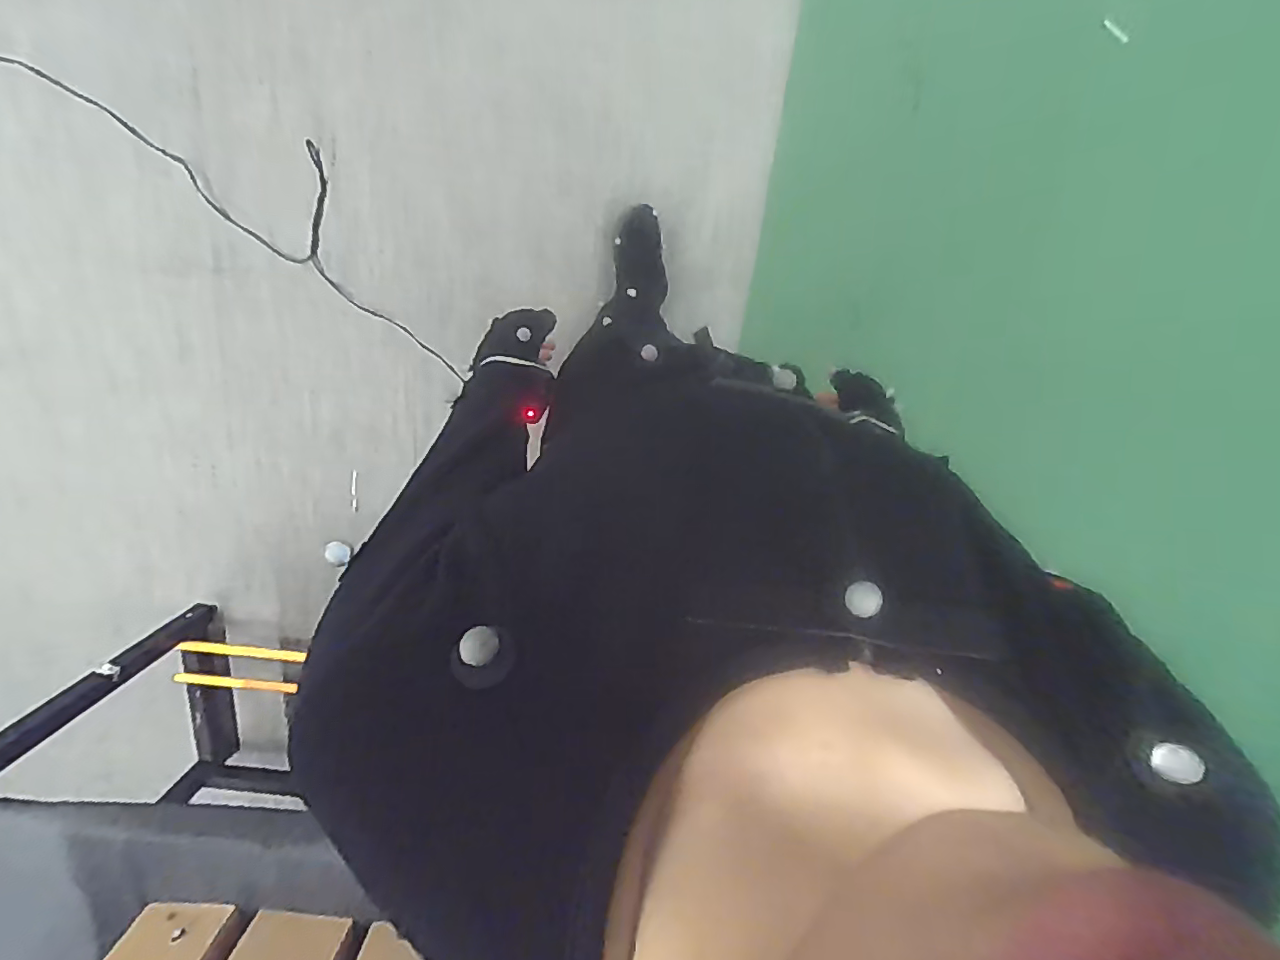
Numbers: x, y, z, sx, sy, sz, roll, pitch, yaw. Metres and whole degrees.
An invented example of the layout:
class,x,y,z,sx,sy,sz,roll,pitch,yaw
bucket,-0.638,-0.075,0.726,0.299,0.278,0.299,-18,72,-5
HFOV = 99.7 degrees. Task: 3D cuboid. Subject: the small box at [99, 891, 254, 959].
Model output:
class,x,y,z,sx,sy,sz,roll,pitch,yaw
small box,-0.828,0.878,0.958,0.168,0.176,0.179,1,108,0
